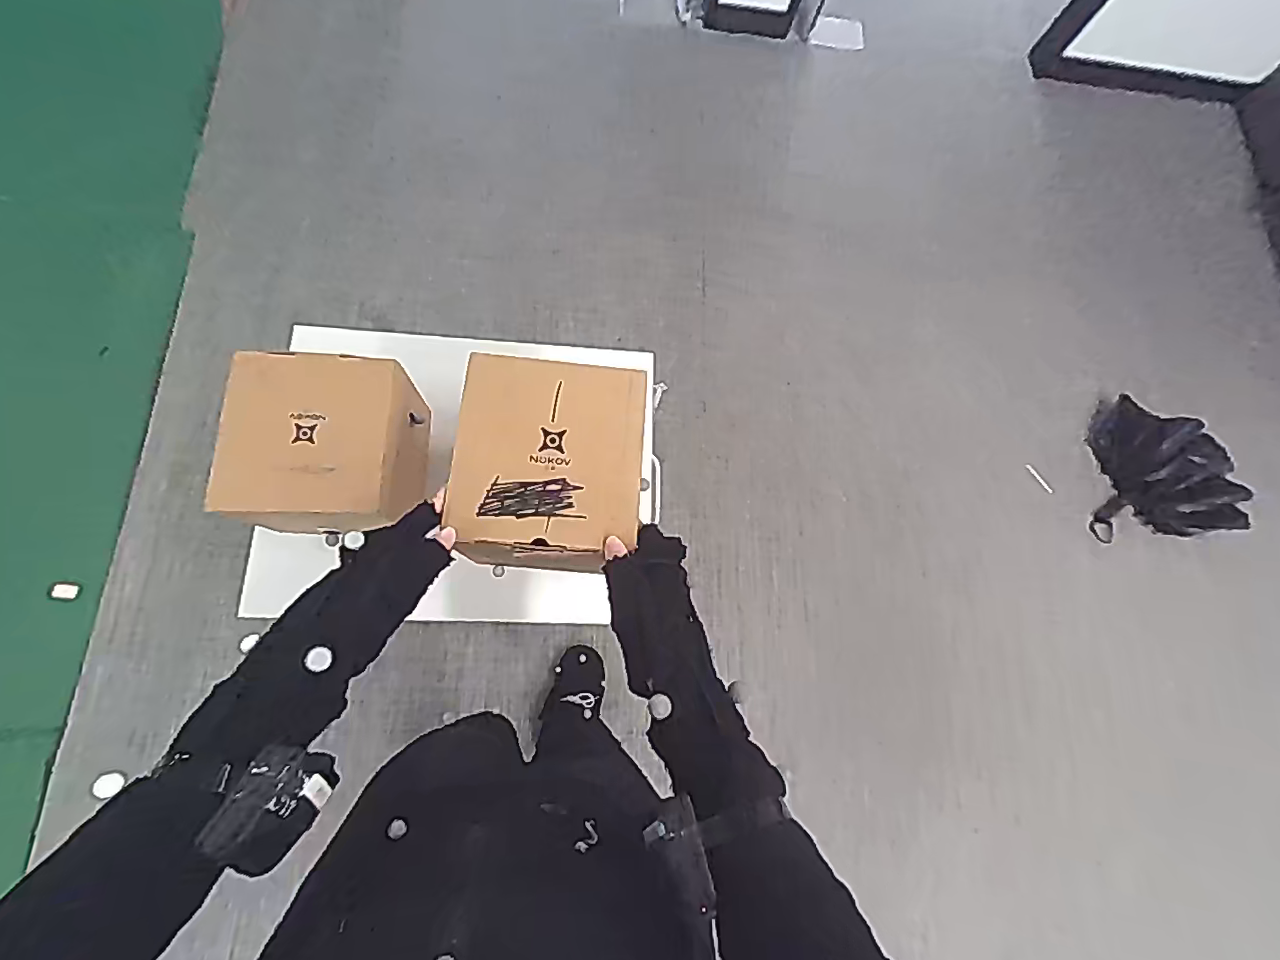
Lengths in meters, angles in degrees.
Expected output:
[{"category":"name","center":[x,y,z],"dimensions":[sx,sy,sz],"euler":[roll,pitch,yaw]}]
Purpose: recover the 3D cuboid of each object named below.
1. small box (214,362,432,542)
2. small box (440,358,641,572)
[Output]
[{"category":"small box","center":[-0.356,-0.023,0.645],"dimensions":[0.168,0.176,0.179],"euler":[0,77,-6]},{"category":"small box","center":[-0.090,-0.002,0.559],"dimensions":[0.168,0.176,0.179],"euler":[4,73,-4]}]
